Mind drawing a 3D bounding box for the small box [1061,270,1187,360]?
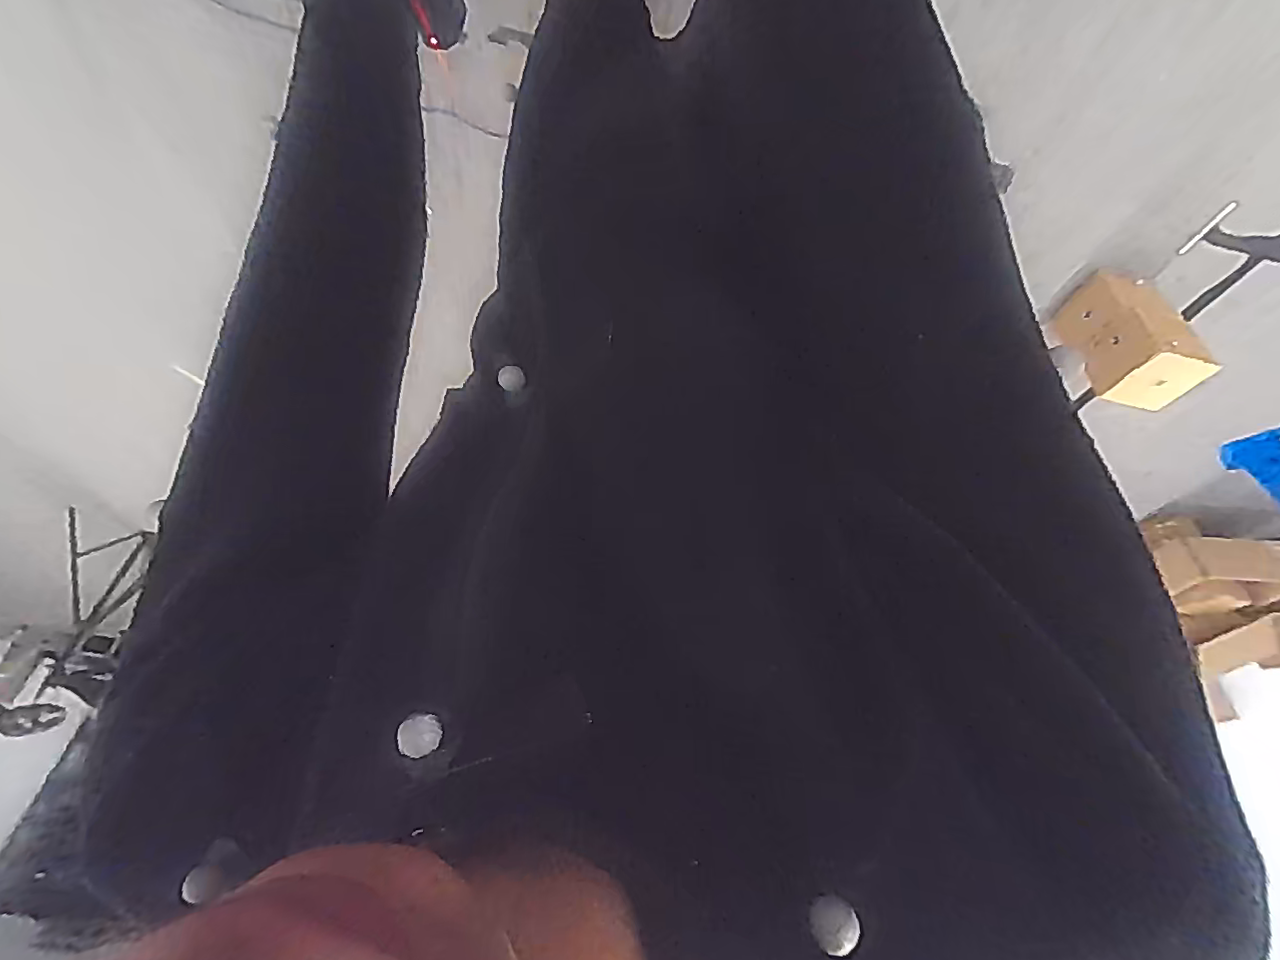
[{"bbox_3d":[1.293,-0.436,1.467,0.168,0.176,0.179,8,144,-4],"label":"small box"}]

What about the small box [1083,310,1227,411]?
[{"bbox_3d":[1.292,-0.304,1.371,0.179,0.176,0.168,12,145,-7],"label":"small box"}]
